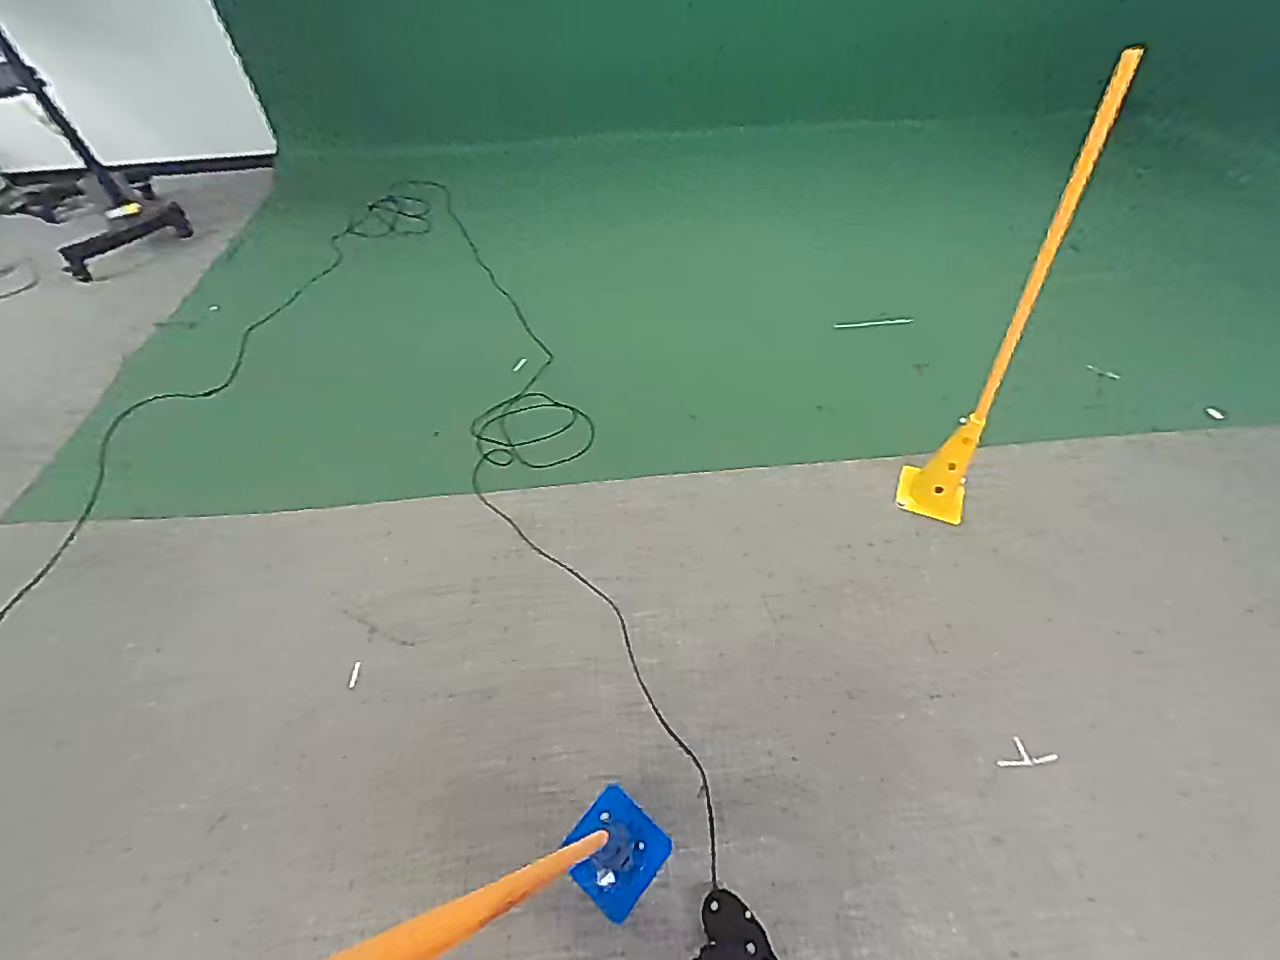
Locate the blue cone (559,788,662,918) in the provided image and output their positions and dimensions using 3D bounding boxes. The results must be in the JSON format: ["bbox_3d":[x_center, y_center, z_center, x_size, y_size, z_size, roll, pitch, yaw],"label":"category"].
[{"bbox_3d":[-0.068,0.727,1.070,0.192,0.380,0.193,33,61,23],"label":"blue cone"}]
